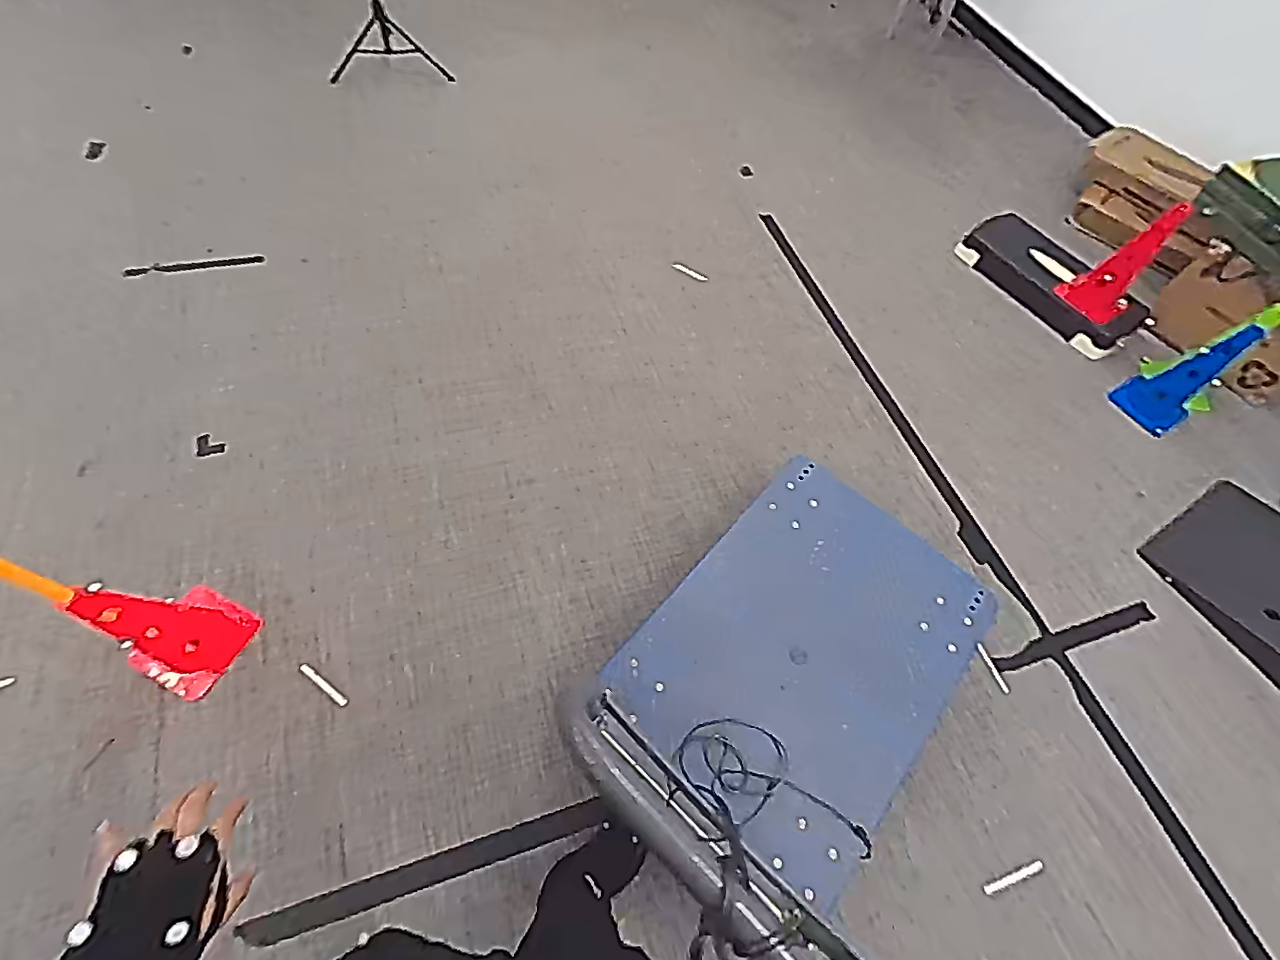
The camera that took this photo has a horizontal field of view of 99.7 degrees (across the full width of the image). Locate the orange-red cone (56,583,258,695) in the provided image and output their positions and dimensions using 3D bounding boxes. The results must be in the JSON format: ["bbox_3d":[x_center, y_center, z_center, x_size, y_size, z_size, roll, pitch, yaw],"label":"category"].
[{"bbox_3d":[-0.974,0.273,1.060,0.199,0.360,0.198,28,63,8],"label":"orange-red cone"}]
